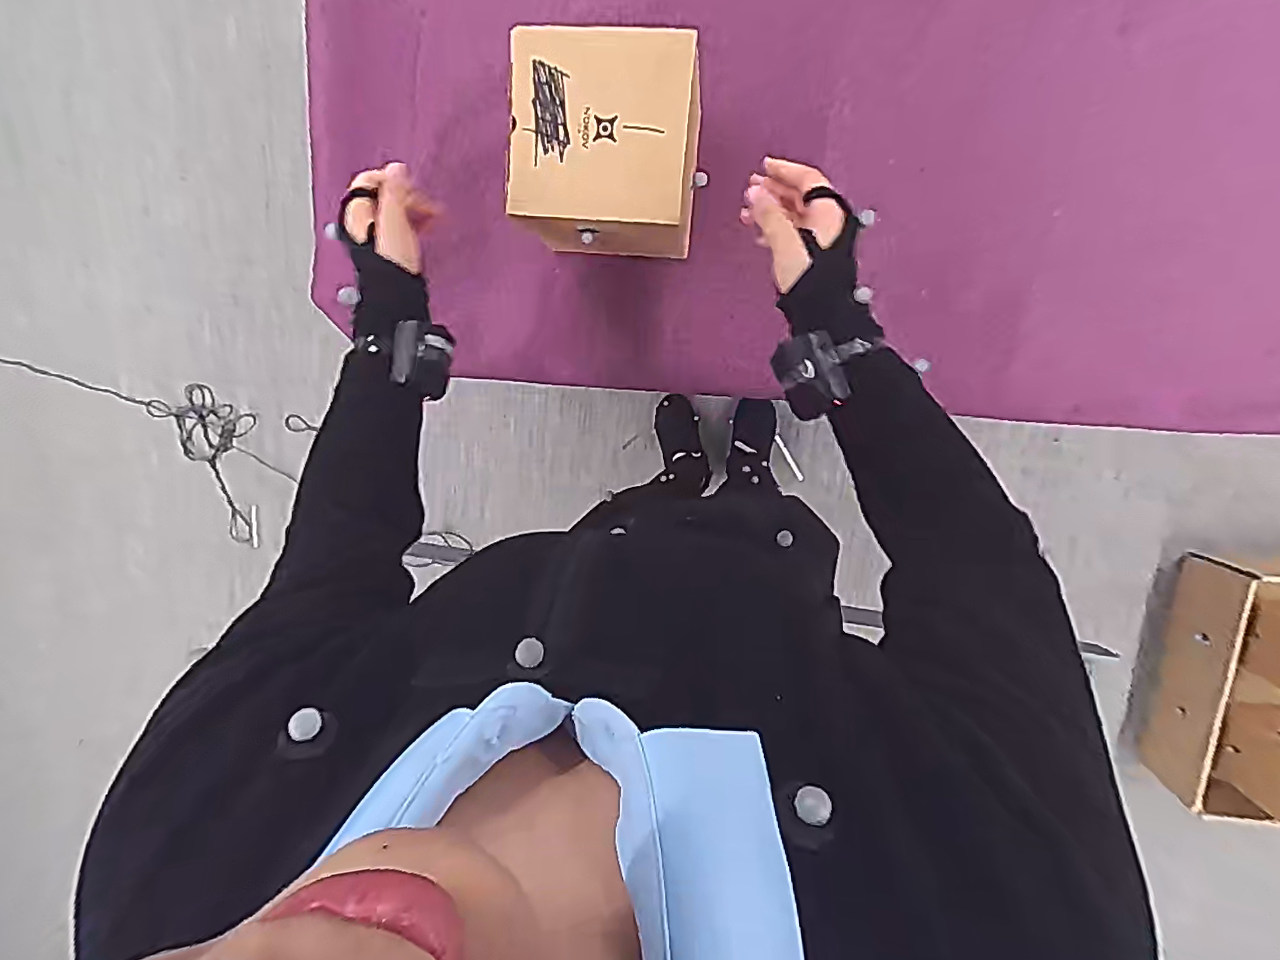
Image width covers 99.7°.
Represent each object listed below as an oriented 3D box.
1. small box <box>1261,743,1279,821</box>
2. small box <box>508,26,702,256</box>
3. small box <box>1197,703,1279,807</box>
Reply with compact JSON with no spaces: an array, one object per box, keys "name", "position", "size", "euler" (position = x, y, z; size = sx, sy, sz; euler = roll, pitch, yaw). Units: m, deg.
[{"name":"small box","position":[1.483,0.684,1.131],"size":[0.168,0.176,0.179],"euler":[3,101,7]},{"name":"small box","position":[-0.029,-0.350,0.590],"size":[0.179,0.176,0.168],"euler":[6,103,6]},{"name":"small box","position":[1.506,0.656,1.290],"size":[0.179,0.176,0.168],"euler":[3,102,6]}]
